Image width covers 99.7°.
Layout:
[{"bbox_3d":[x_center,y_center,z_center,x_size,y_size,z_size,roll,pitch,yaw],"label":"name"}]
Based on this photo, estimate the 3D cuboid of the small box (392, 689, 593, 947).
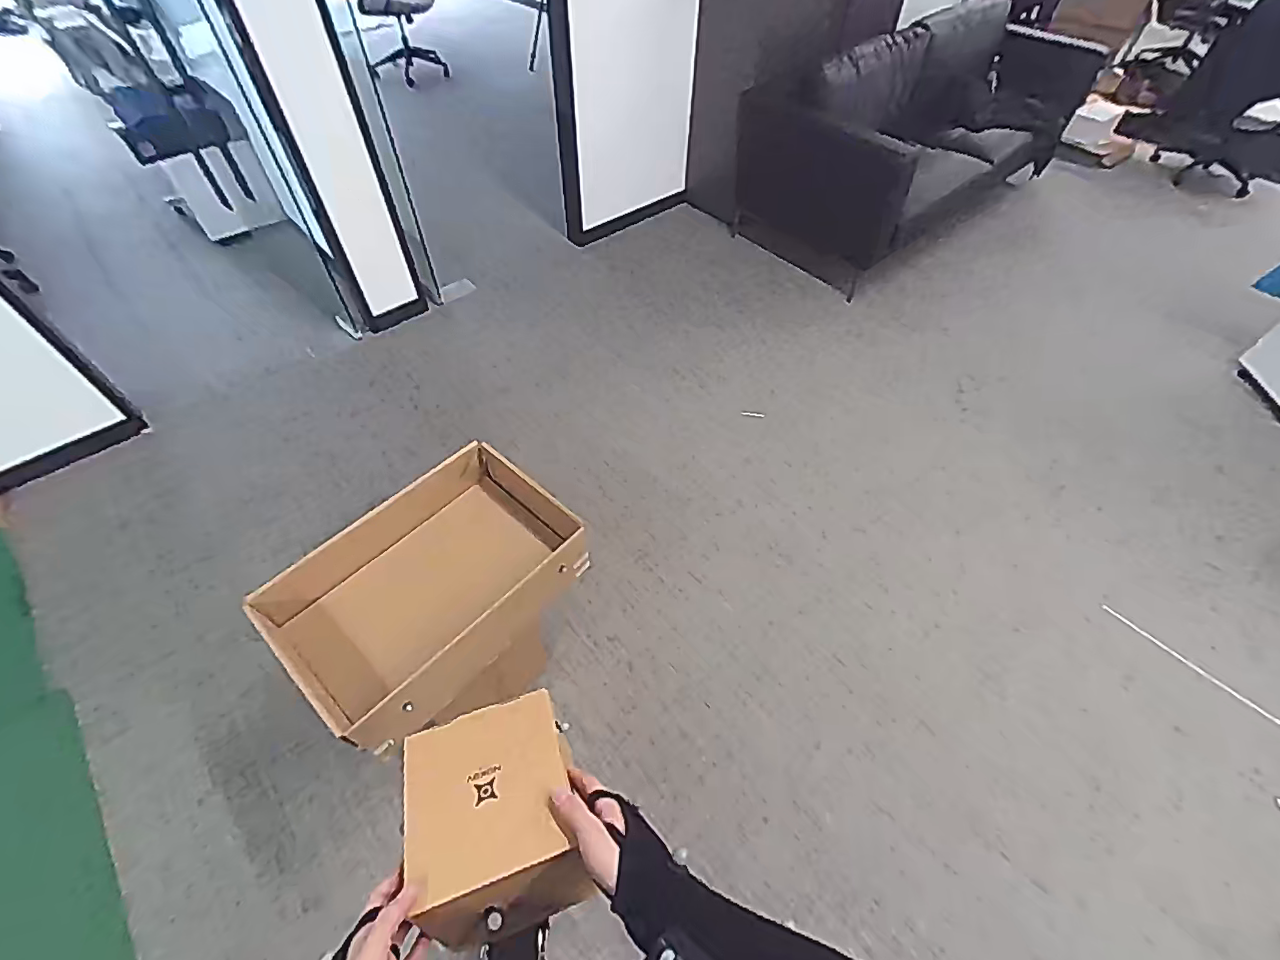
[{"bbox_3d":[-0.158,0.374,0.597,0.168,0.176,0.179,-16,39,-12],"label":"small box"}]
